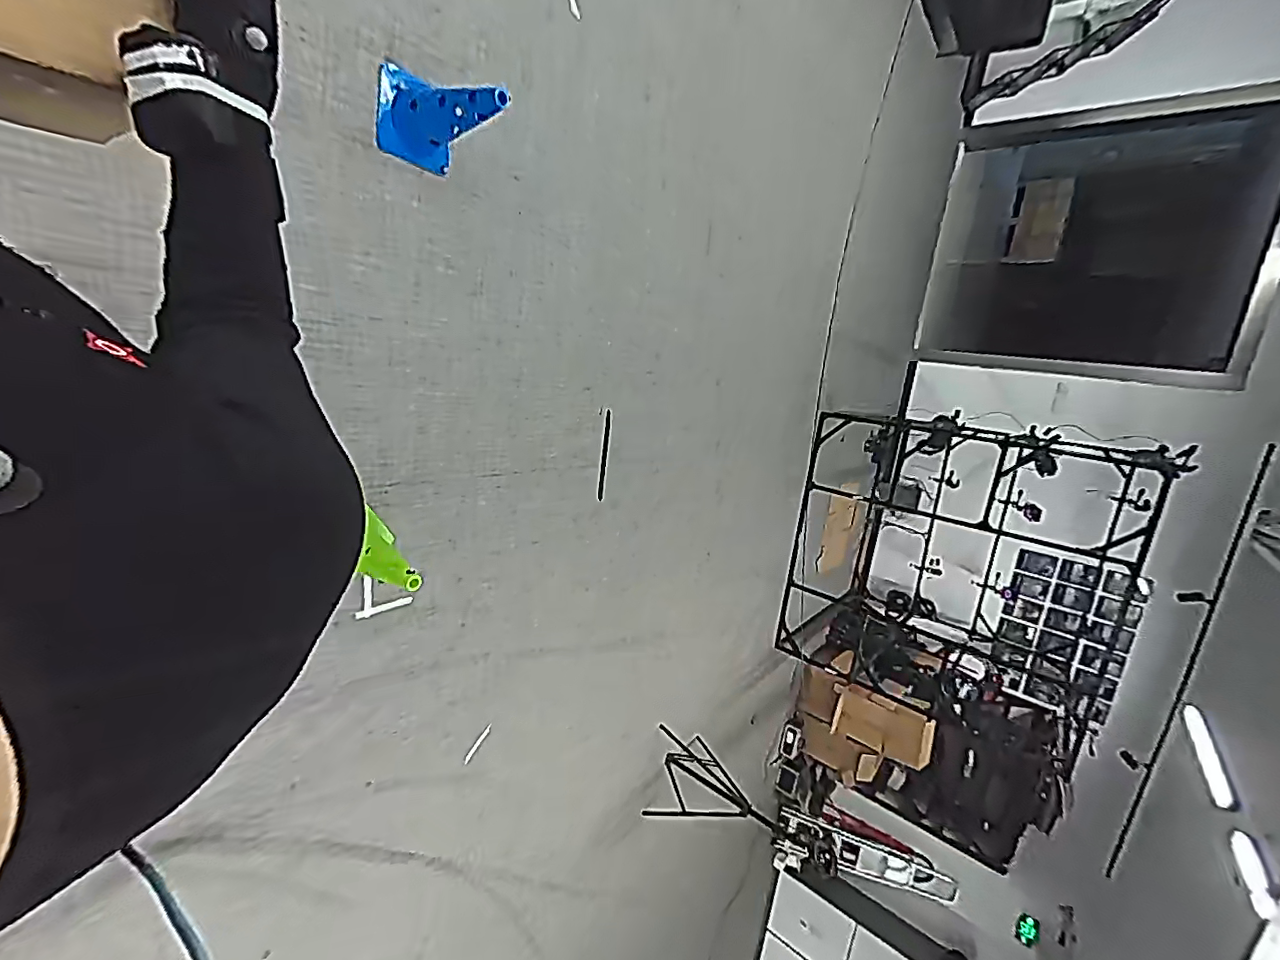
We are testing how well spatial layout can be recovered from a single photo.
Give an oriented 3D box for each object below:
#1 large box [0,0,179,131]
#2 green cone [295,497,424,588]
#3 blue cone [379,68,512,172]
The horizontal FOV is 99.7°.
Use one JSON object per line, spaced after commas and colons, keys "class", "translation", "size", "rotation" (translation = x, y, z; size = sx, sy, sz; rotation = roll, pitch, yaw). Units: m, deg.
{"class": "large box", "translation": [-0.559, -0.440, 0.287], "size": [0.408, 0.320, 0.320], "rotation": [-12, 116, -52]}
{"class": "green cone", "translation": [-0.687, 0.210, 1.411], "size": [0.202, 0.368, 0.200], "rotation": [-50, 139, -31]}
{"class": "blue cone", "translation": [-0.455, -0.894, 1.313], "size": [0.192, 0.380, 0.193], "rotation": [-3, 106, -54]}
